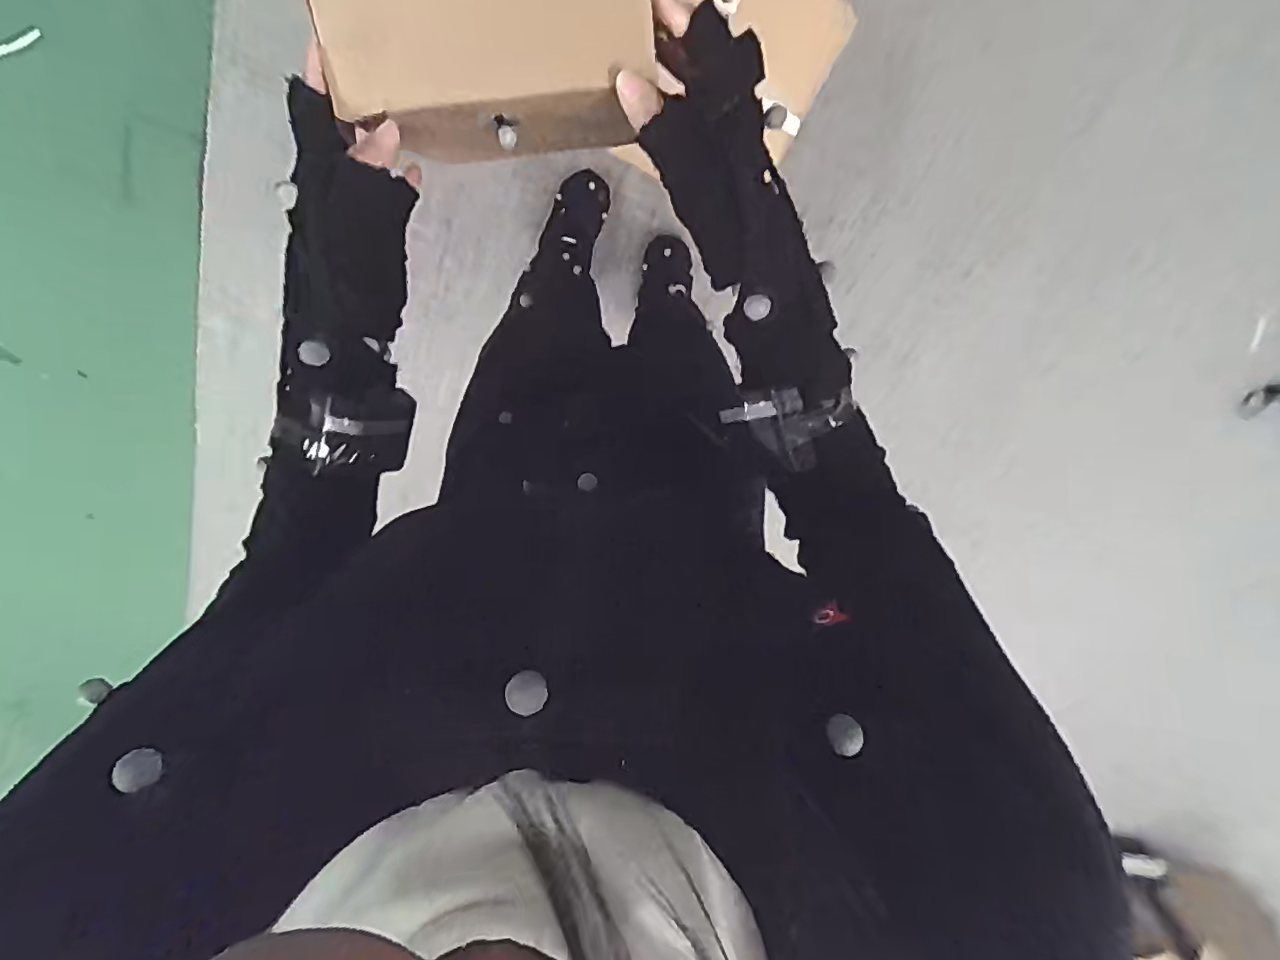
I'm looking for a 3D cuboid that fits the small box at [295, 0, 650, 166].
[{"bbox_3d":[-0.089,-0.304,0.329,0.179,0.176,0.168,-7,114,4],"label":"small box"}]
